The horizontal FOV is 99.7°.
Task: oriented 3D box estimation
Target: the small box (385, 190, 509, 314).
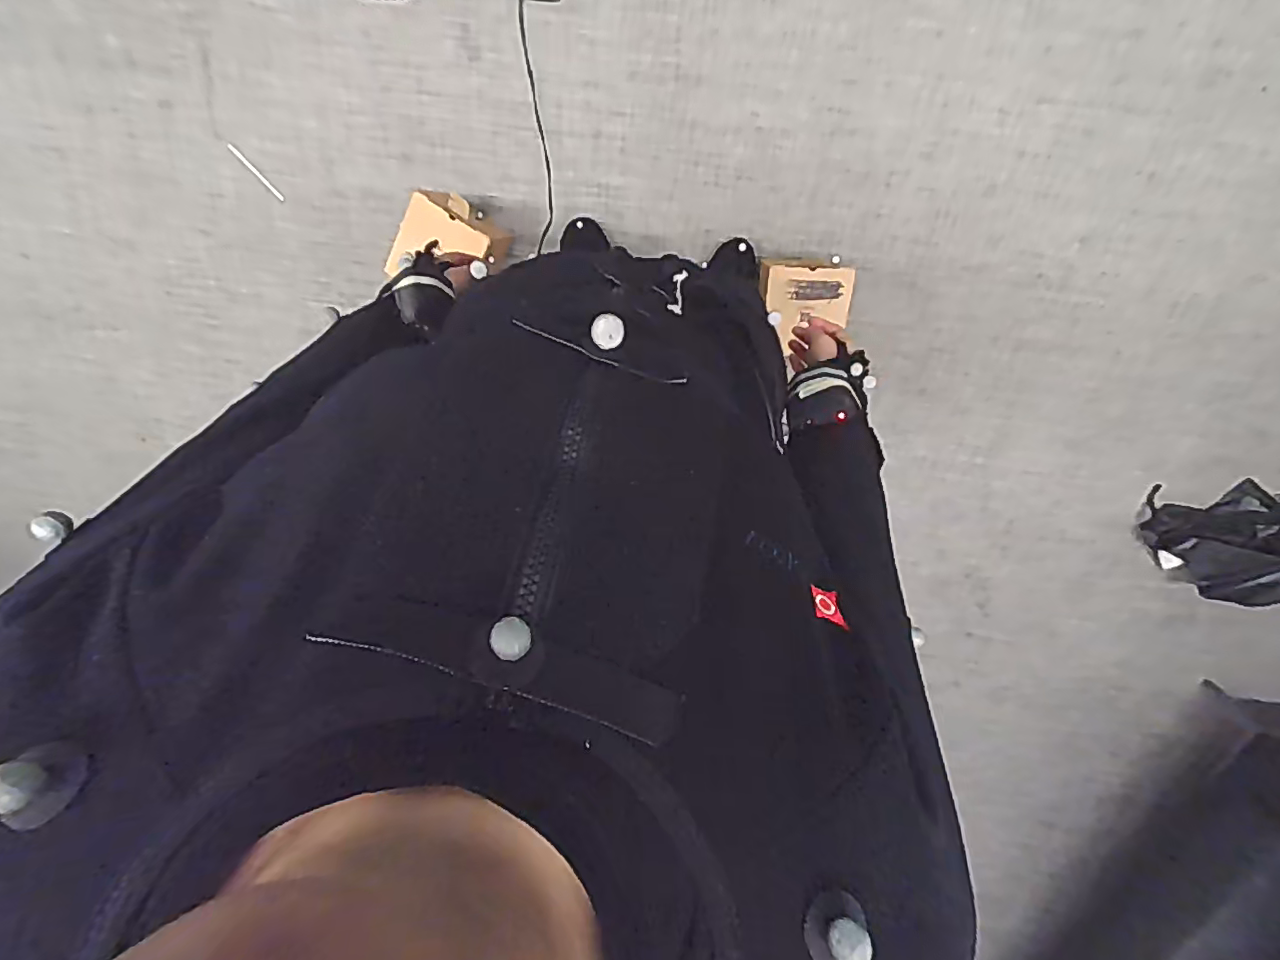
[{"bbox_3d":[-0.401,-0.482,1.148,0.168,0.176,0.179,31,114,-10],"label":"small box"}]
